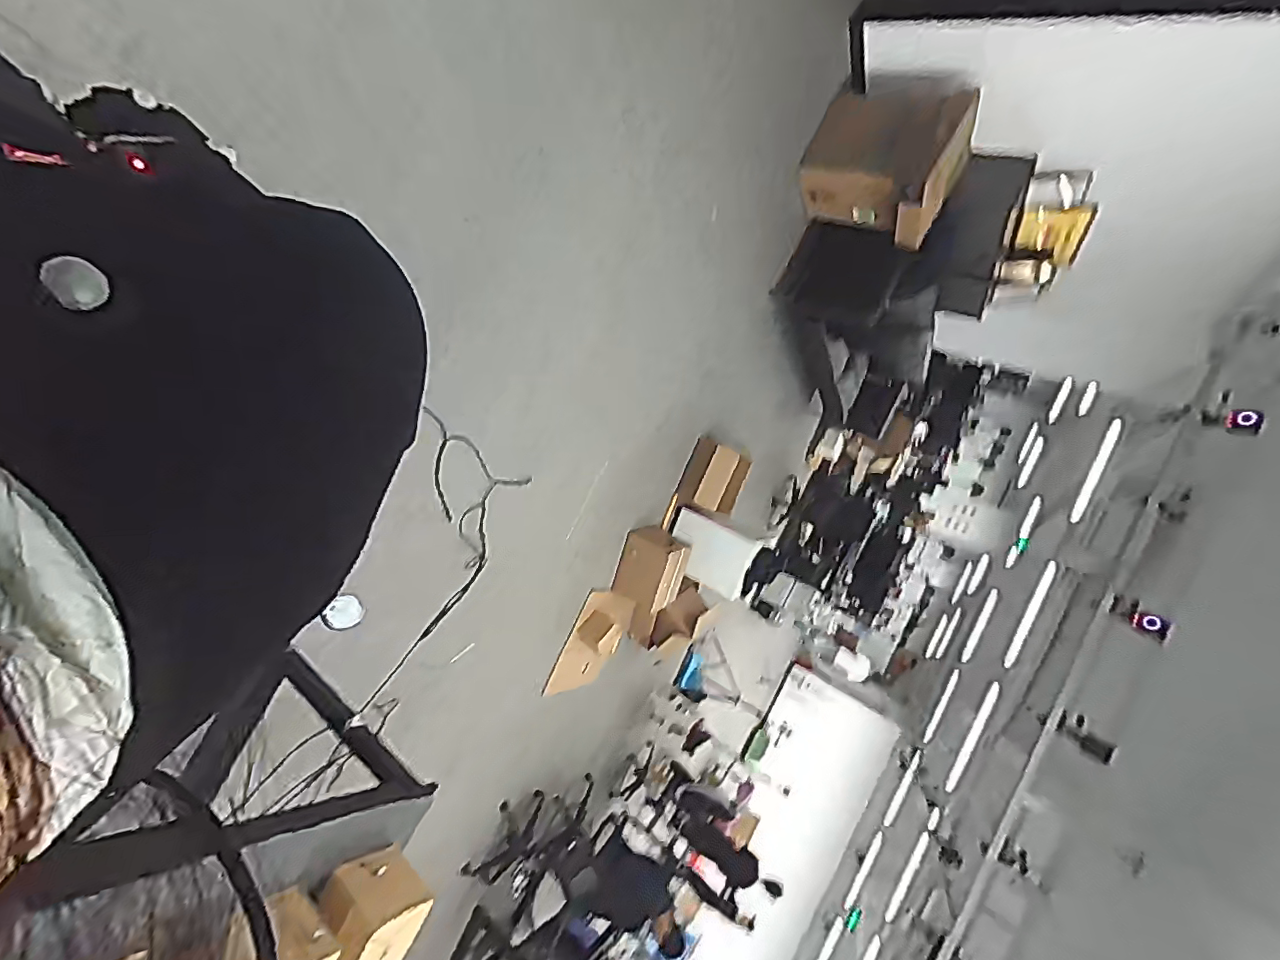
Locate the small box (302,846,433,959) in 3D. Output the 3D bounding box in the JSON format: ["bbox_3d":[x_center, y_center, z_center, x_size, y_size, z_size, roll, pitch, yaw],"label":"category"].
[{"bbox_3d":[-0.605,0.964,1.194,0.179,0.176,0.168,-61,151,-2],"label":"small box"}]
